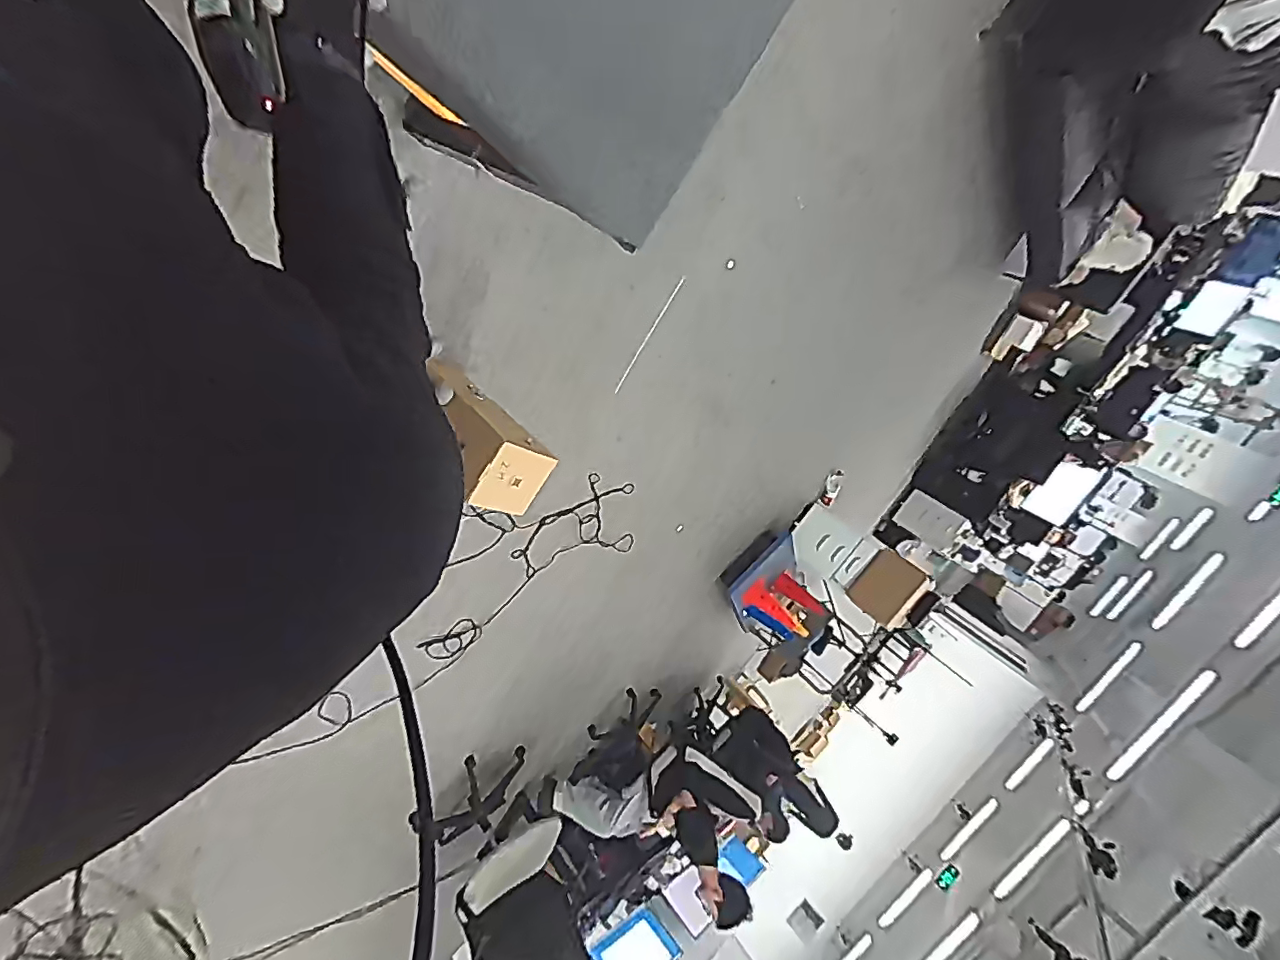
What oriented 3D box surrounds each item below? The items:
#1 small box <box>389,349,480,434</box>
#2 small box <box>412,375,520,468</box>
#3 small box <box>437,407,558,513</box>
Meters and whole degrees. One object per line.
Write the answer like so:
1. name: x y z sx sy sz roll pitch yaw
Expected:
1. small box: -0.542 -0.216 1.447 0.179 0.176 0.168 -54 146 9
2. small box: -0.441 -0.131 1.352 0.168 0.176 0.179 18 107 -55
3. small box: -0.333 -0.048 1.258 0.168 0.176 0.179 -55 146 9
